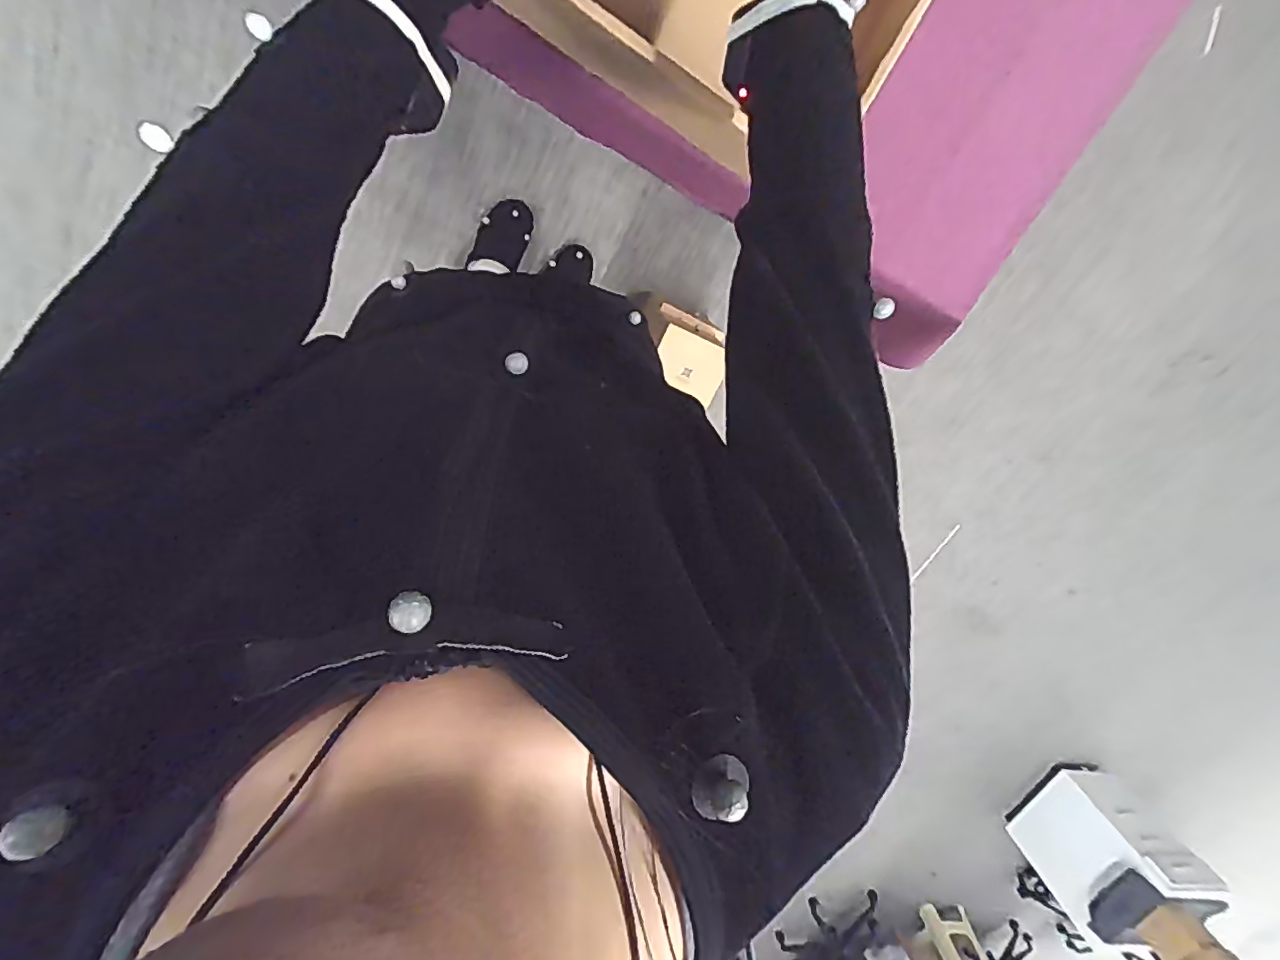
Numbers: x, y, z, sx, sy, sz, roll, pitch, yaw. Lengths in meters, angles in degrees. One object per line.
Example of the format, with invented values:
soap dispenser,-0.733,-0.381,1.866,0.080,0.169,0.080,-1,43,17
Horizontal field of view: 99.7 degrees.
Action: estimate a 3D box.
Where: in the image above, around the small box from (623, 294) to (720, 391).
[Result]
small box,0.073,-0.357,1.379,0.179,0.176,0.168,22,112,-19
